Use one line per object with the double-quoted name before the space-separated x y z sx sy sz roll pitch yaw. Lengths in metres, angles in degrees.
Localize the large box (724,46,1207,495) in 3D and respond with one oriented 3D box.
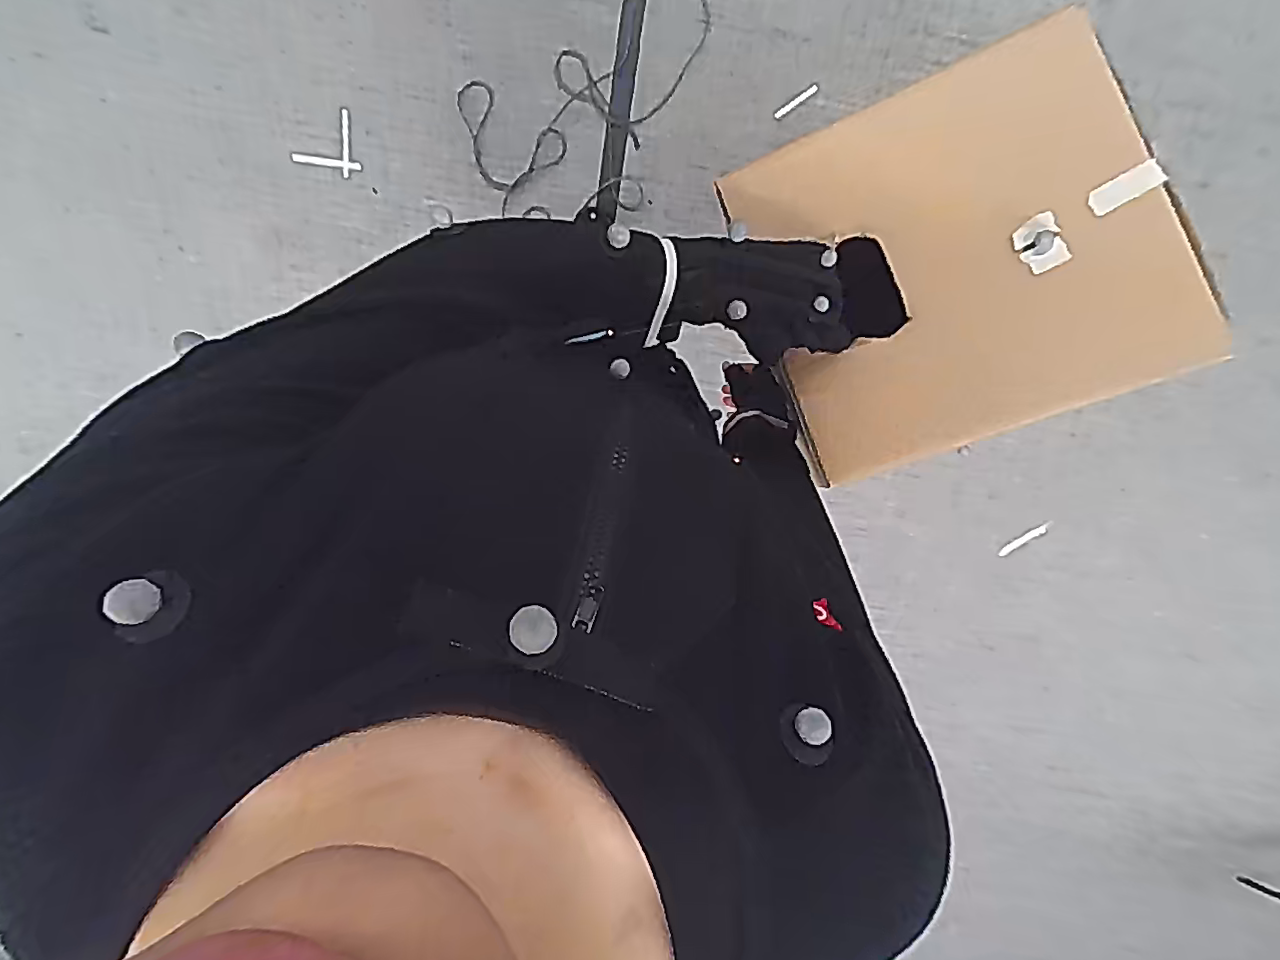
"large box" 0.321 -0.175 0.660 0.320 0.408 0.320 -19 84 16
